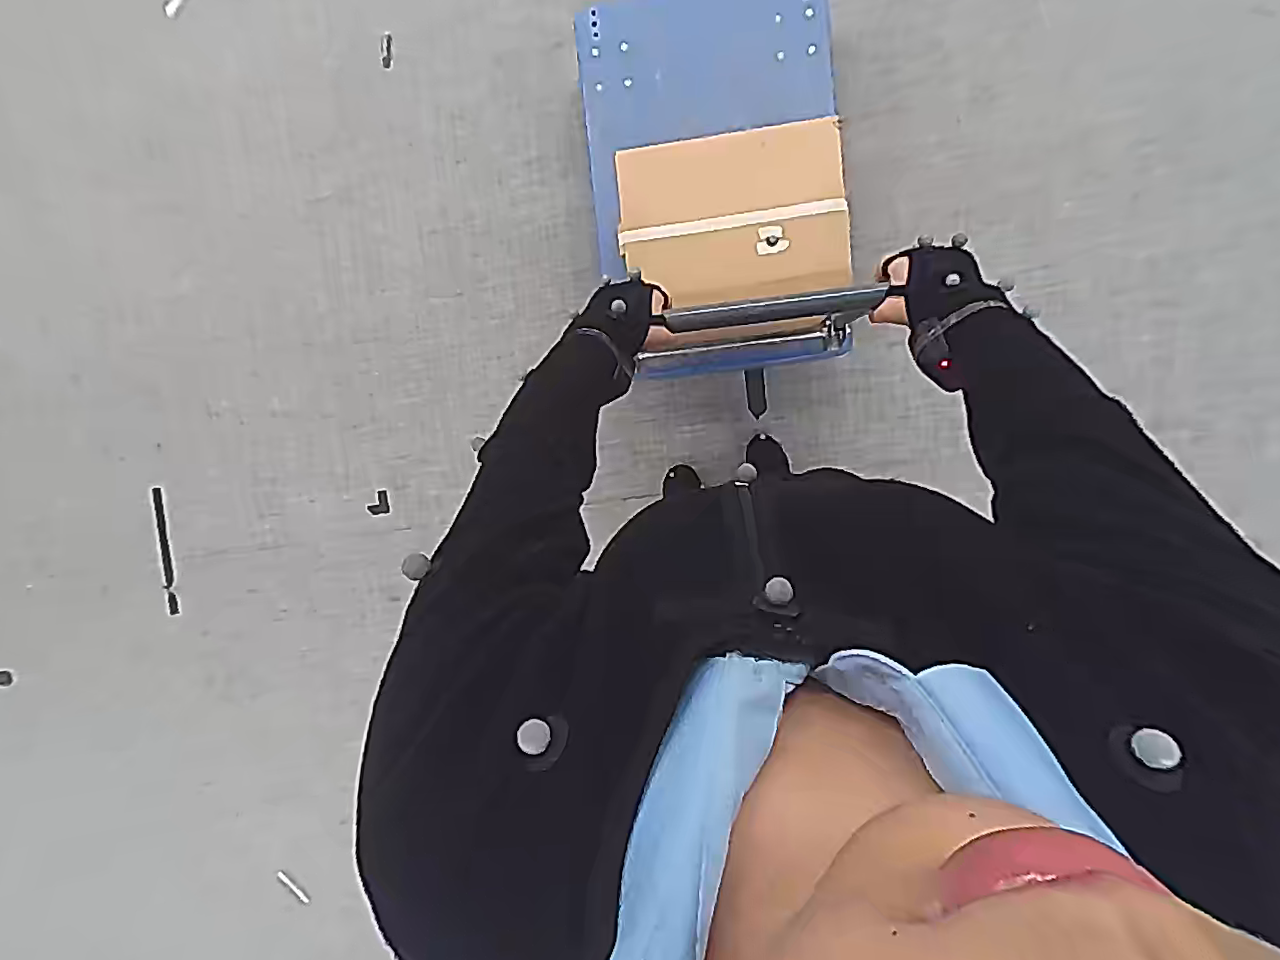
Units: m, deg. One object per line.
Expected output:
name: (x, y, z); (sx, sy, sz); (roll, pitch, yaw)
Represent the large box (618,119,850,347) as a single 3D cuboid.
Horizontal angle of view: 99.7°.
large box: (0.183, -0.487, 1.148); (0.408, 0.320, 0.320); (-6, 94, 5)
